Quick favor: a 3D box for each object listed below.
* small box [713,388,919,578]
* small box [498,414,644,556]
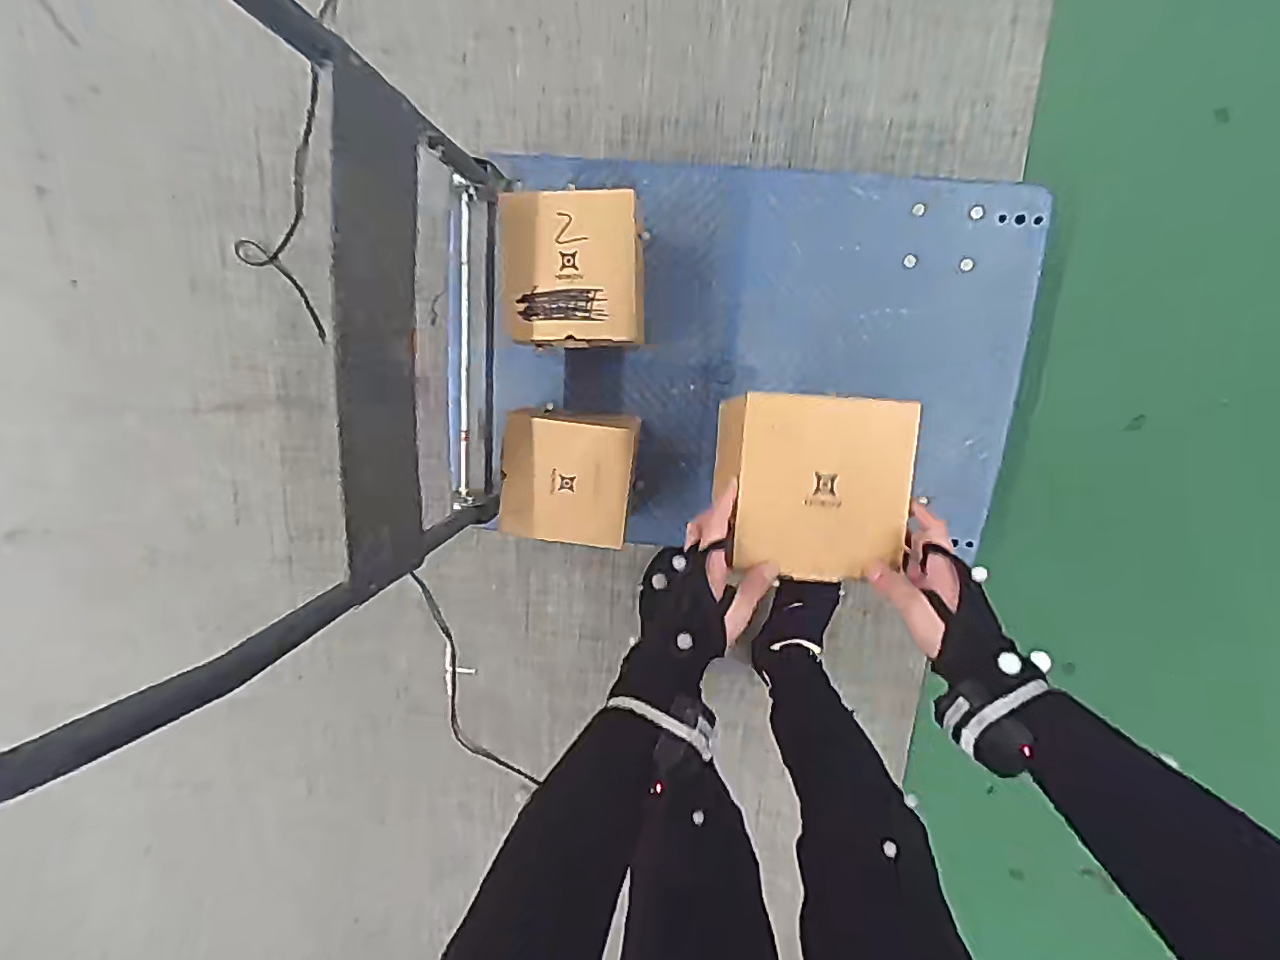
[{"bbox_3d":[0.178,-0.003,0.600,0.168,0.176,0.179,4,96,-1],"label":"small box"},{"bbox_3d":[-0.093,-0.003,0.793,0.179,0.176,0.168,7,102,2],"label":"small box"}]
